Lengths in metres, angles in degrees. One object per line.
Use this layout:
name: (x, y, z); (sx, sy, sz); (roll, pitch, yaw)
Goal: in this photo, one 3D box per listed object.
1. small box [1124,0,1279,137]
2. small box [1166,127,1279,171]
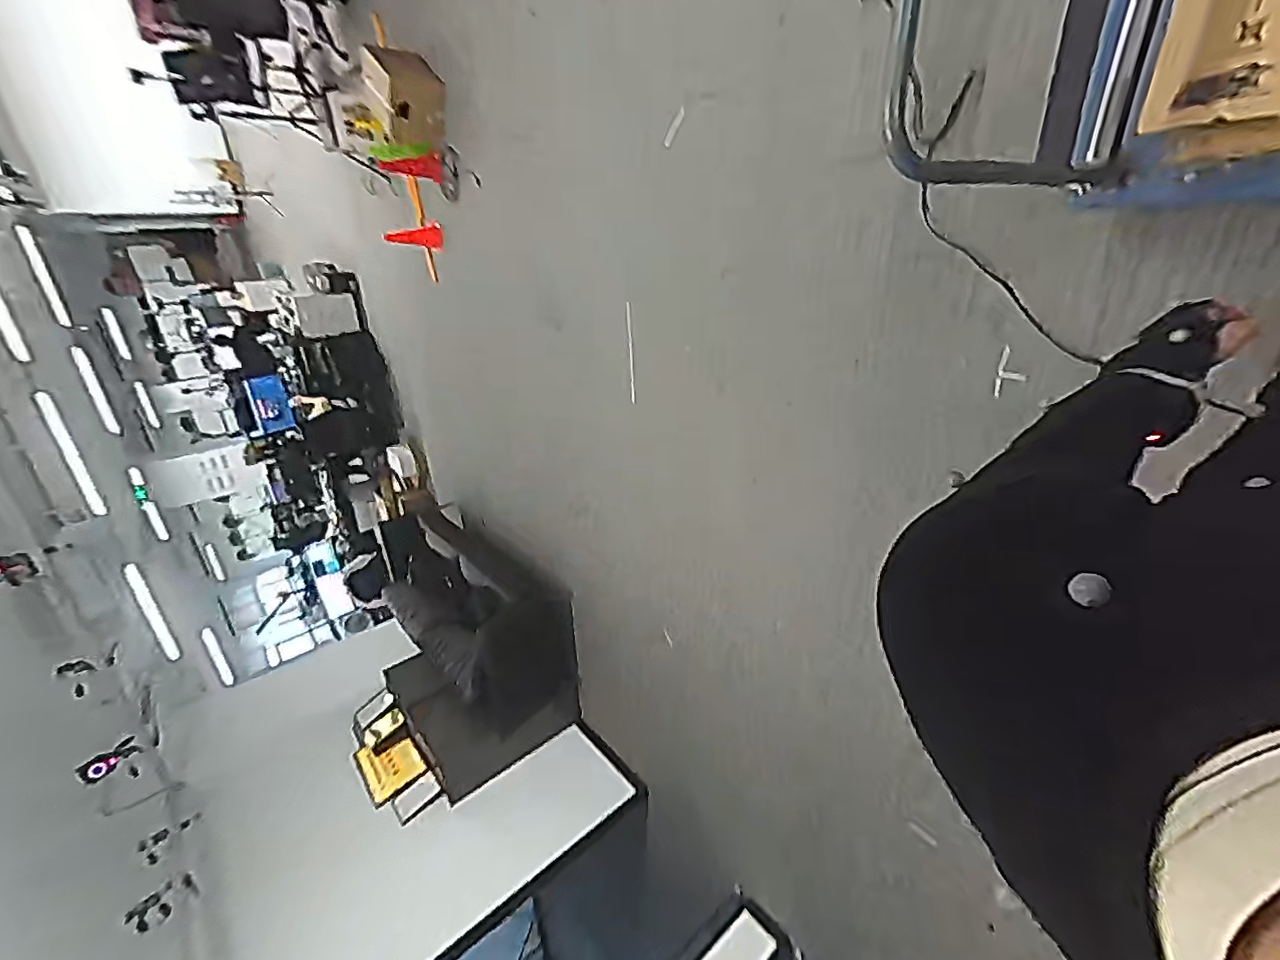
small box: (0.787, -0.564, 0.711); (0.168, 0.176, 0.179); (24, 124, 43)
small box: (0.919, -0.591, 0.821); (0.179, 0.176, 0.168); (52, 142, 23)
